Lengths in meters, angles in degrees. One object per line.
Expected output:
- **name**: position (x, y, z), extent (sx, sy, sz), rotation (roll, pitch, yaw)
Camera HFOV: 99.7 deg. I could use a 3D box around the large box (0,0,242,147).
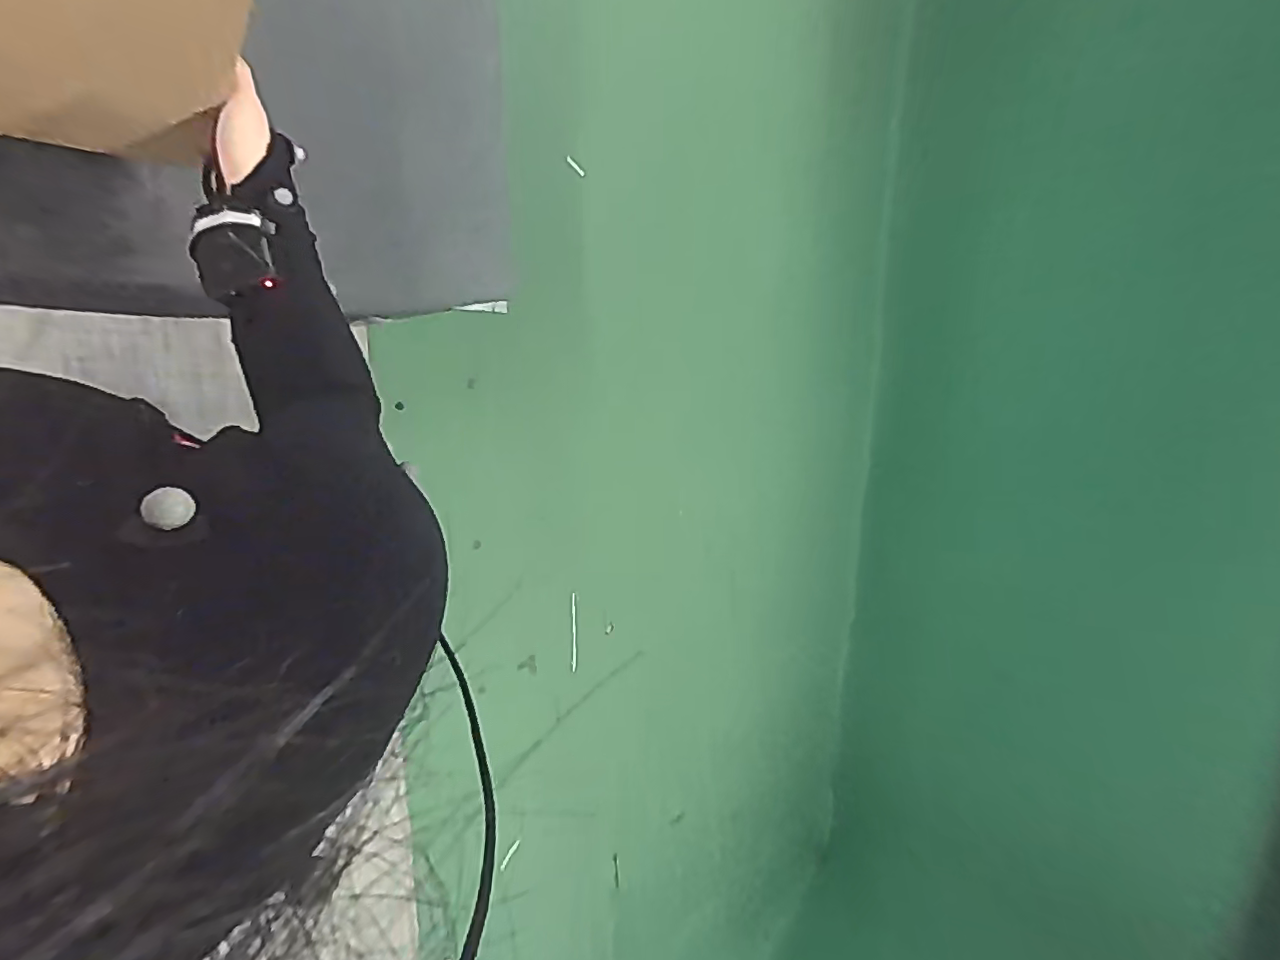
- **large box**: position (-0.473, -0.435, 0.259), extent (0.408, 0.320, 0.320), rotation (-15, 94, -45)
